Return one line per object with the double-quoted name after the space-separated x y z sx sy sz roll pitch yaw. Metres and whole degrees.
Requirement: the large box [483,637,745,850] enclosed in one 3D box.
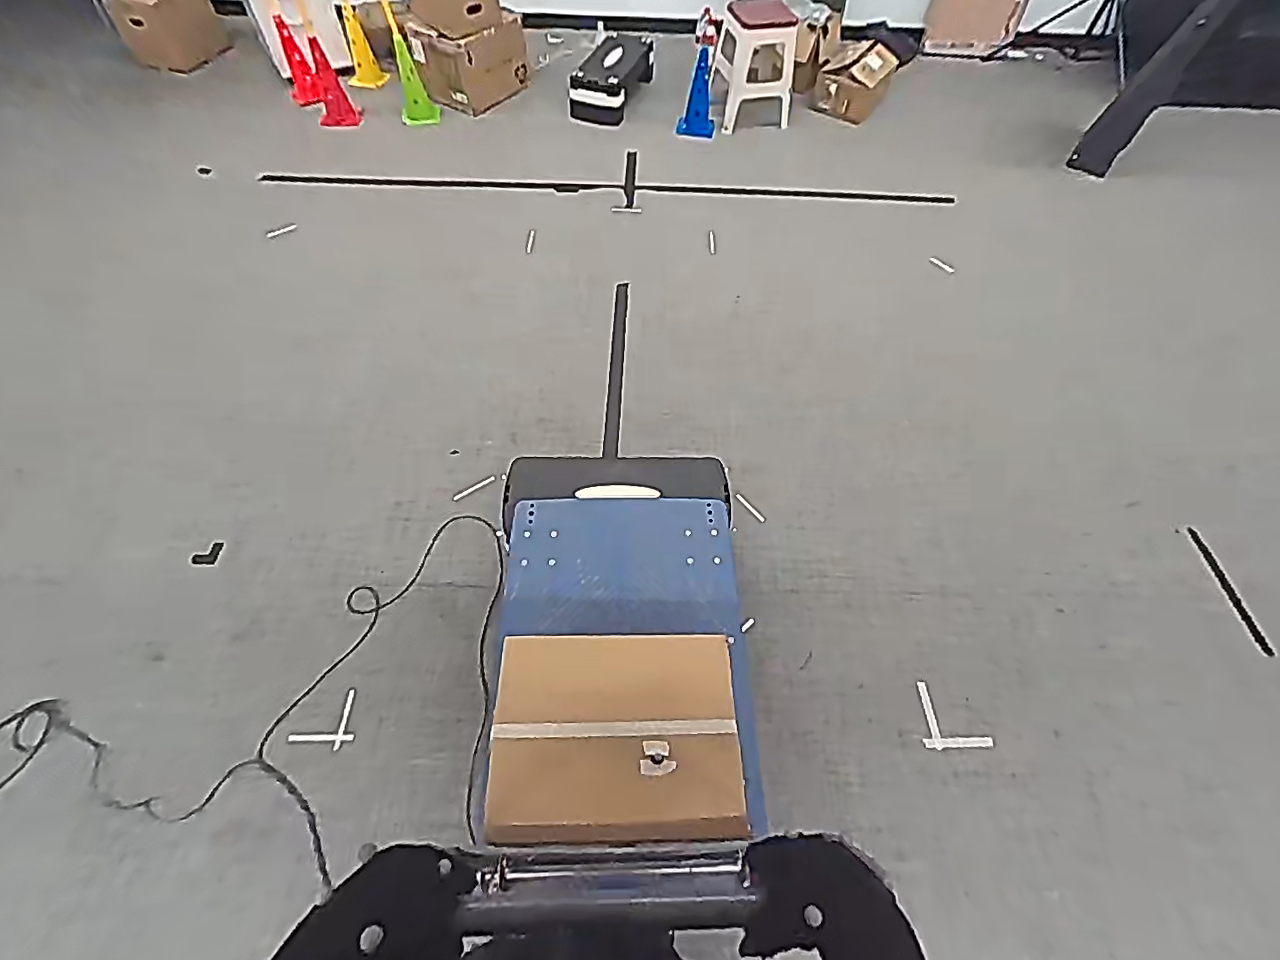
-0.049 0.497 1.015 0.408 0.320 0.320 1 57 -3 "large box"
